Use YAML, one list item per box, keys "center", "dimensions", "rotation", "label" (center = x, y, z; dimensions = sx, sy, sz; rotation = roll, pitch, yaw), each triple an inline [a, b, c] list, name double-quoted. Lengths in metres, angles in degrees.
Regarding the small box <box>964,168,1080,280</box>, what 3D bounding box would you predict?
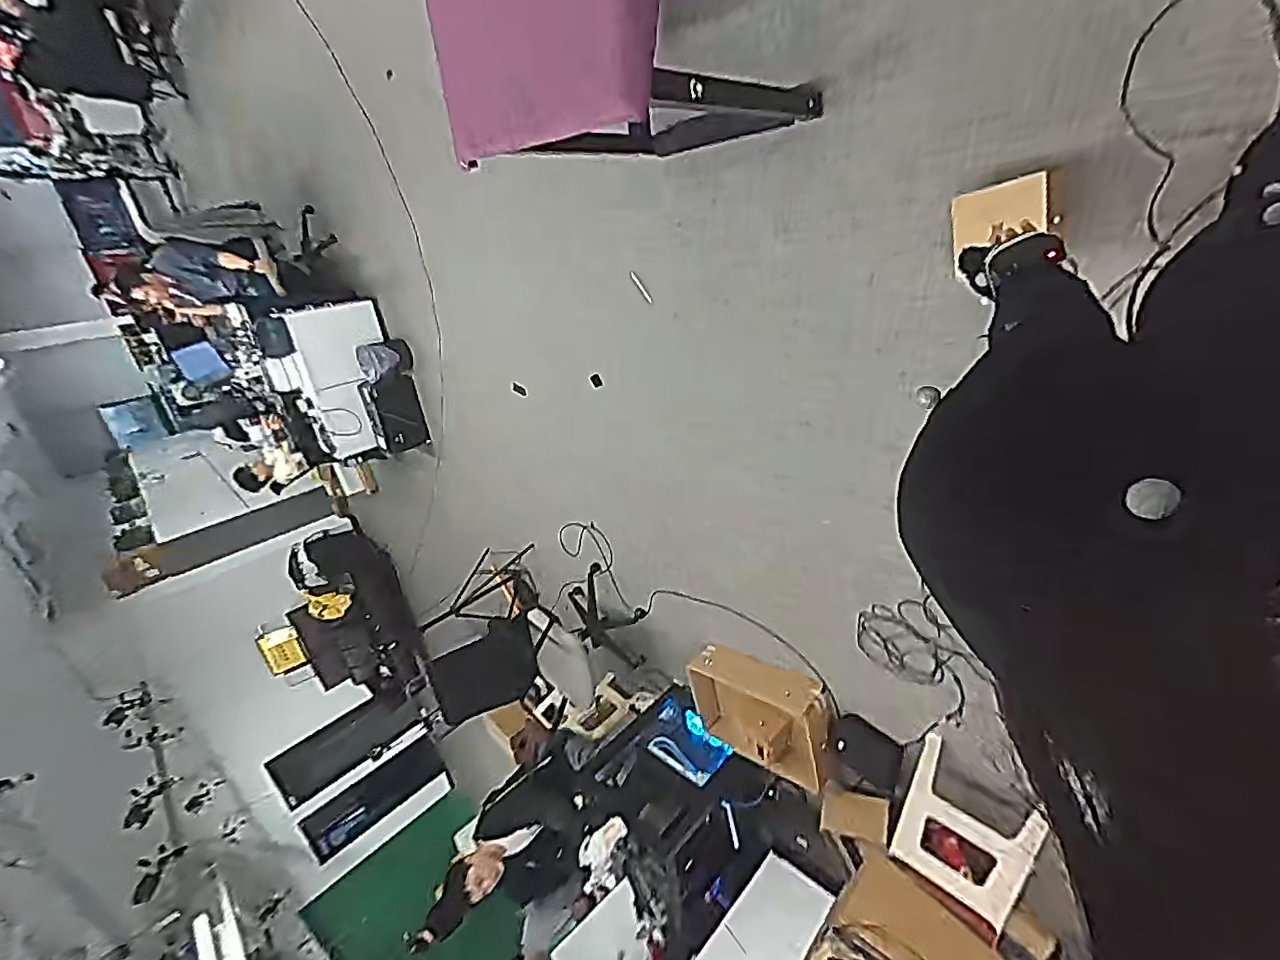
- center: [0.806, -0.535, 1.137]
  dimensions: [0.168, 0.176, 0.179]
  rotation: [4, 112, 48]
  label: "small box"
